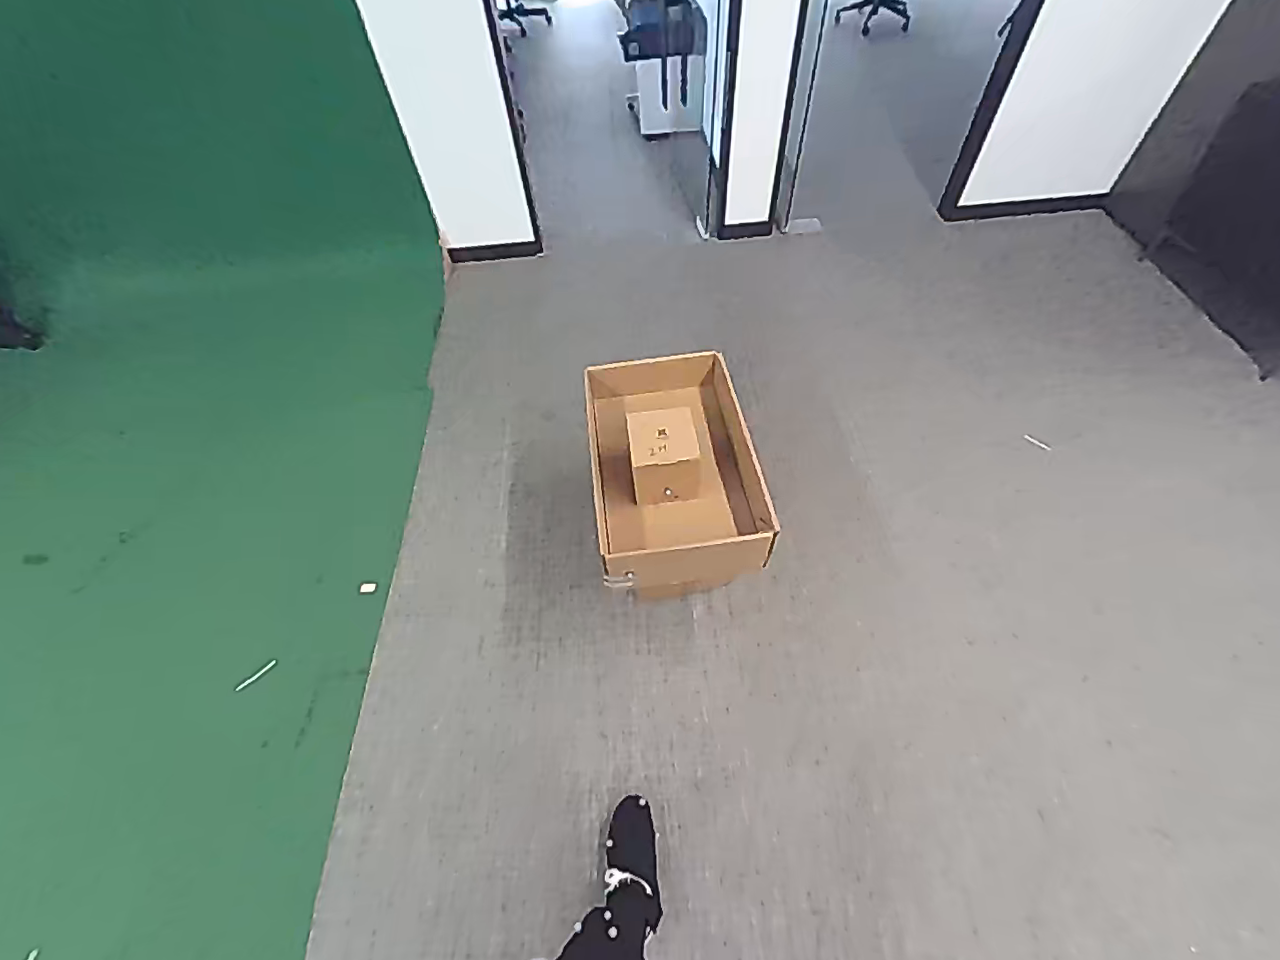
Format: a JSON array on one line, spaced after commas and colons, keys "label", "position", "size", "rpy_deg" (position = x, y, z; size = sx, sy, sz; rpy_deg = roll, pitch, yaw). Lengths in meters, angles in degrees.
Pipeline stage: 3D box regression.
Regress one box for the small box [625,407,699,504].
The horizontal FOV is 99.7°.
[{"label": "small box", "position": [0.052, -0.061, 1.379], "size": [0.168, 0.176, 0.179], "rpy_deg": [-7, 53, -1]}]
